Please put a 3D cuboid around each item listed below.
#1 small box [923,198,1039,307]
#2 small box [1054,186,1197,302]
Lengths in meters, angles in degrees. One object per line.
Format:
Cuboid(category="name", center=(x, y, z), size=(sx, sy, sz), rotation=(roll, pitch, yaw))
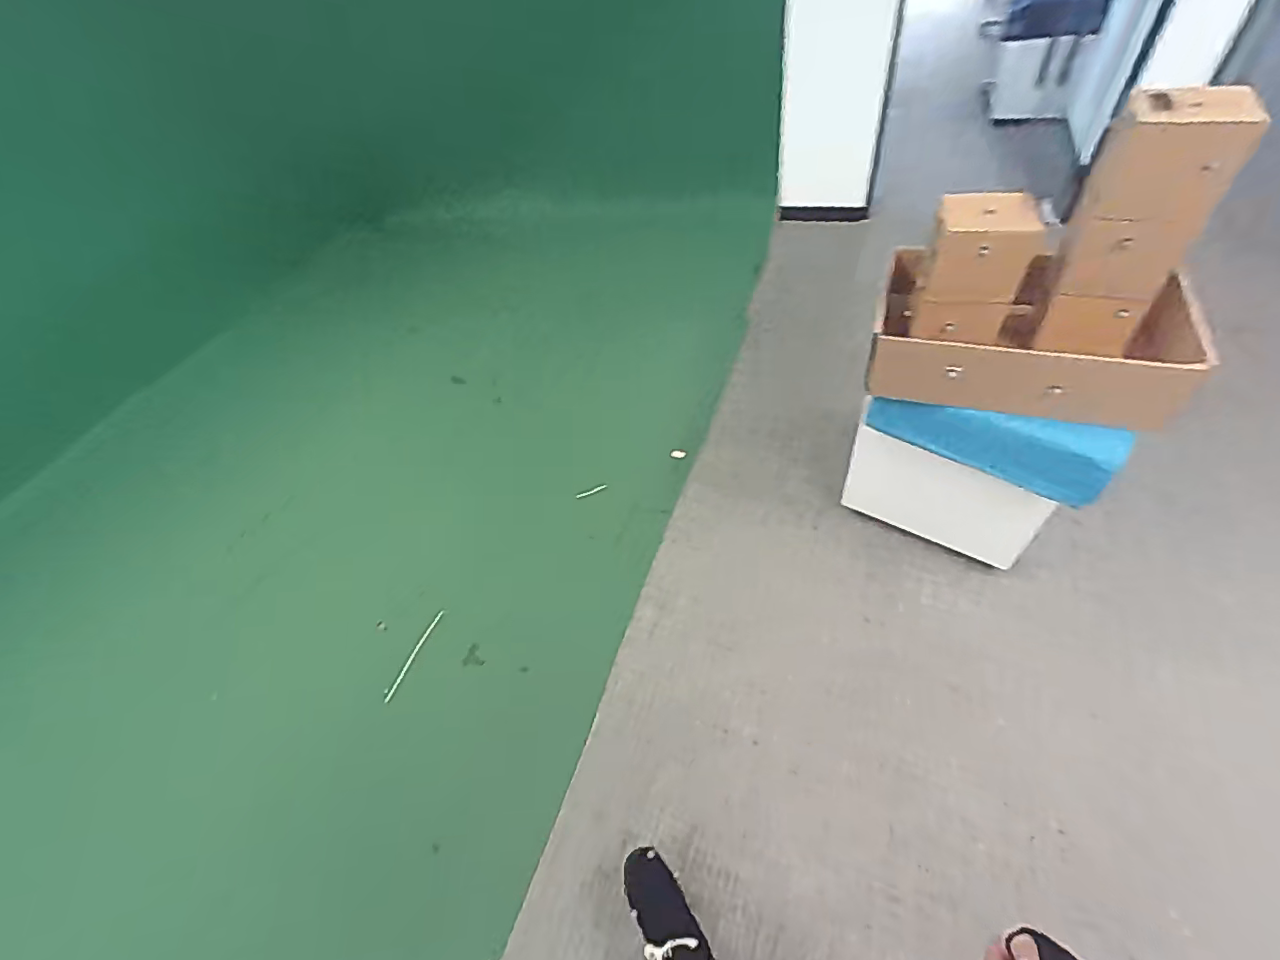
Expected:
Cuboid(category="small box", center=(0.737, -0.500, 1.194), size=(0.179, 0.176, 0.168), rotation=(8, 53, 16))
Cuboid(category="small box", center=(1.005, -0.495, 1.139), size=(0.179, 0.176, 0.168), rotation=(15, 55, 22))
